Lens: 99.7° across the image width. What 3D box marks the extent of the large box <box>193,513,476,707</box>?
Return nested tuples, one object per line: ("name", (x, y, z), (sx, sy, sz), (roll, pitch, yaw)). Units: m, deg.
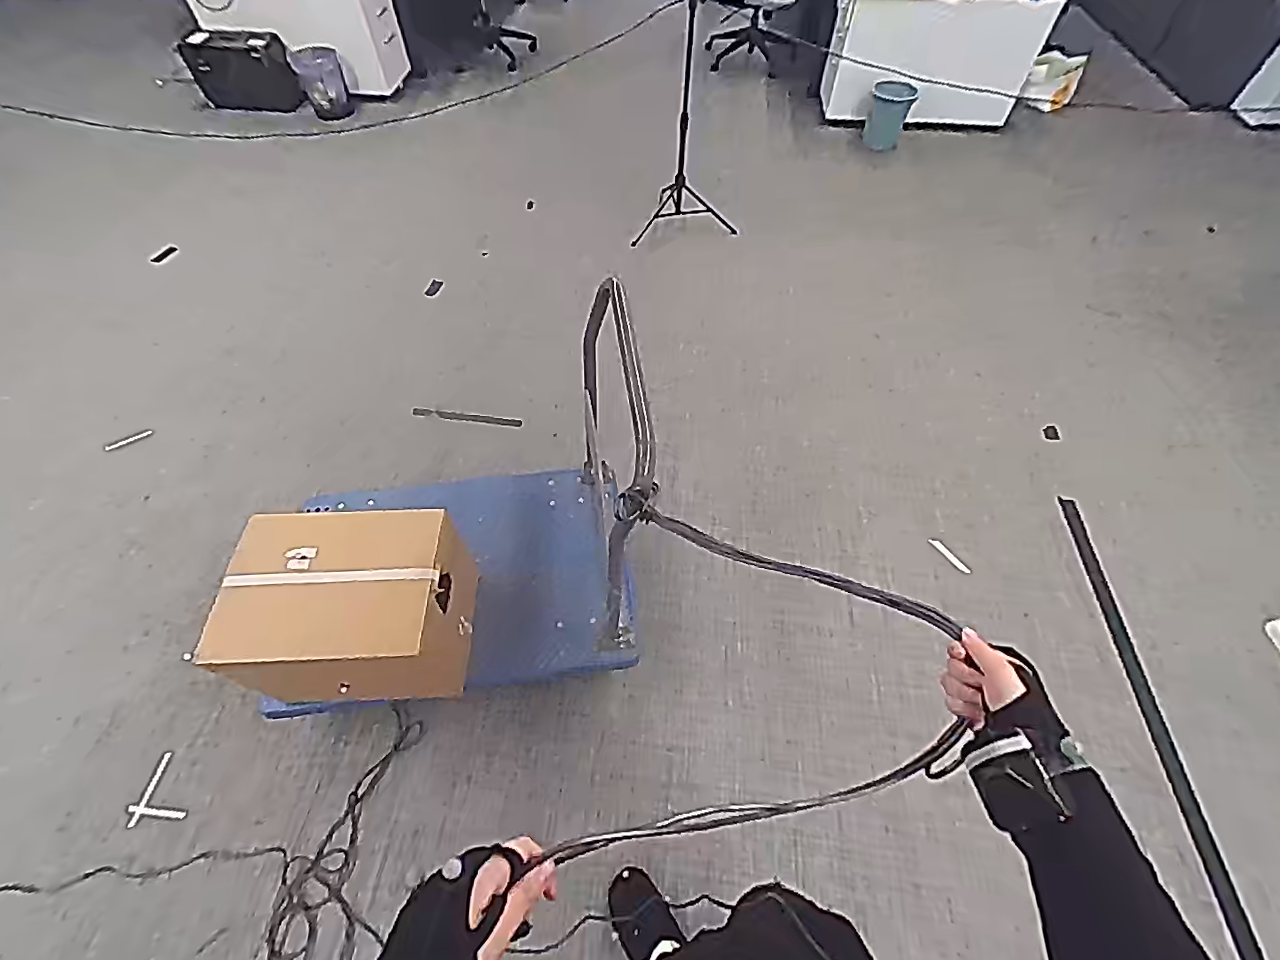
("large box", (-0.602, 0.289, 1.167), (0.408, 0.320, 0.320), (-2, 55, -2))
